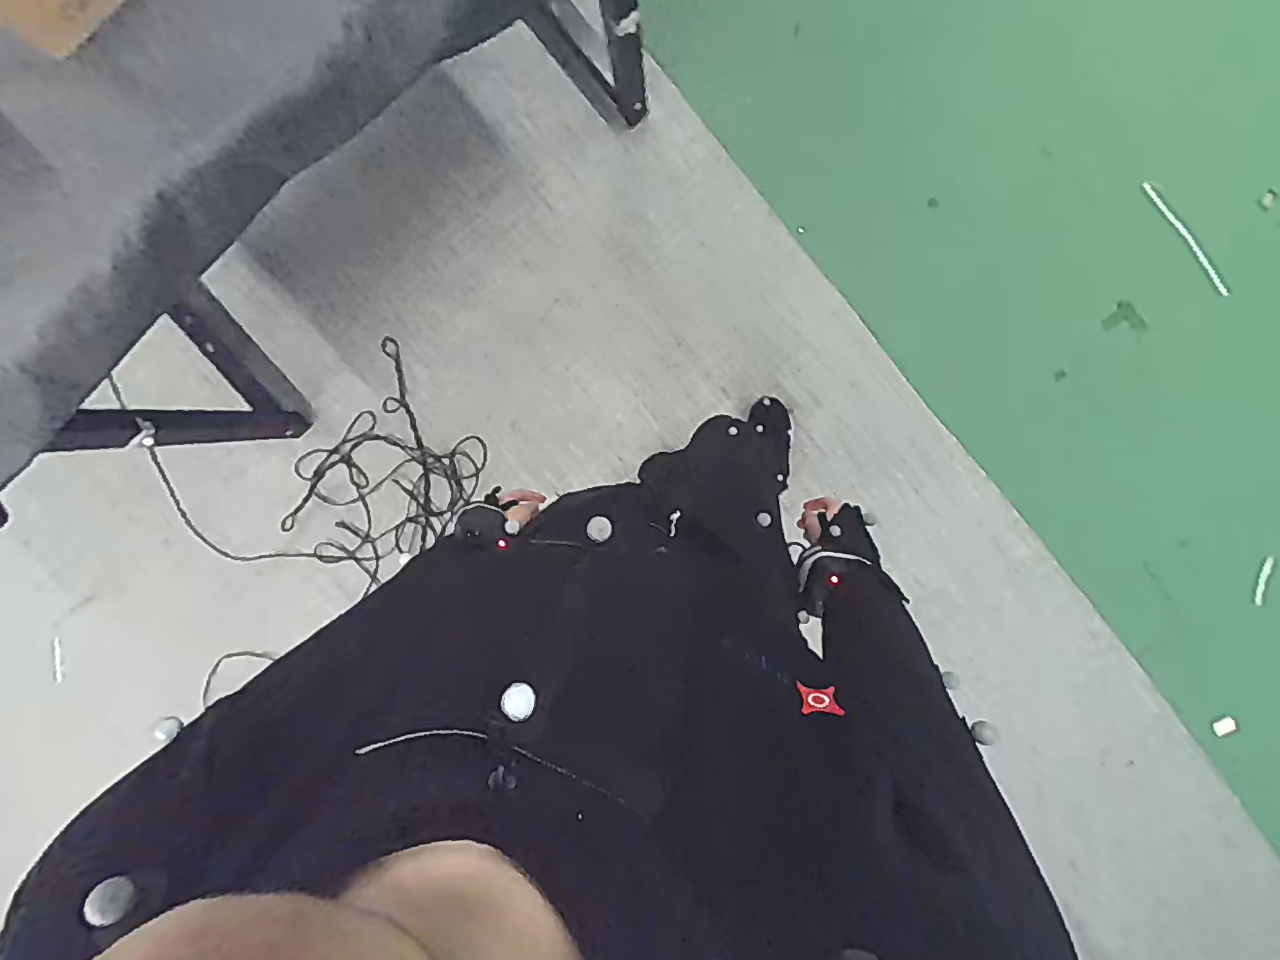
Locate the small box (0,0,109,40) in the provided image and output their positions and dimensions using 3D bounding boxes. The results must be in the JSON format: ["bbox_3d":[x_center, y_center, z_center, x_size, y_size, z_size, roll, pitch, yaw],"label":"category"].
[{"bbox_3d":[-0.631,-0.567,0.501,0.168,0.176,0.179,-37,92,5],"label":"small box"}]
